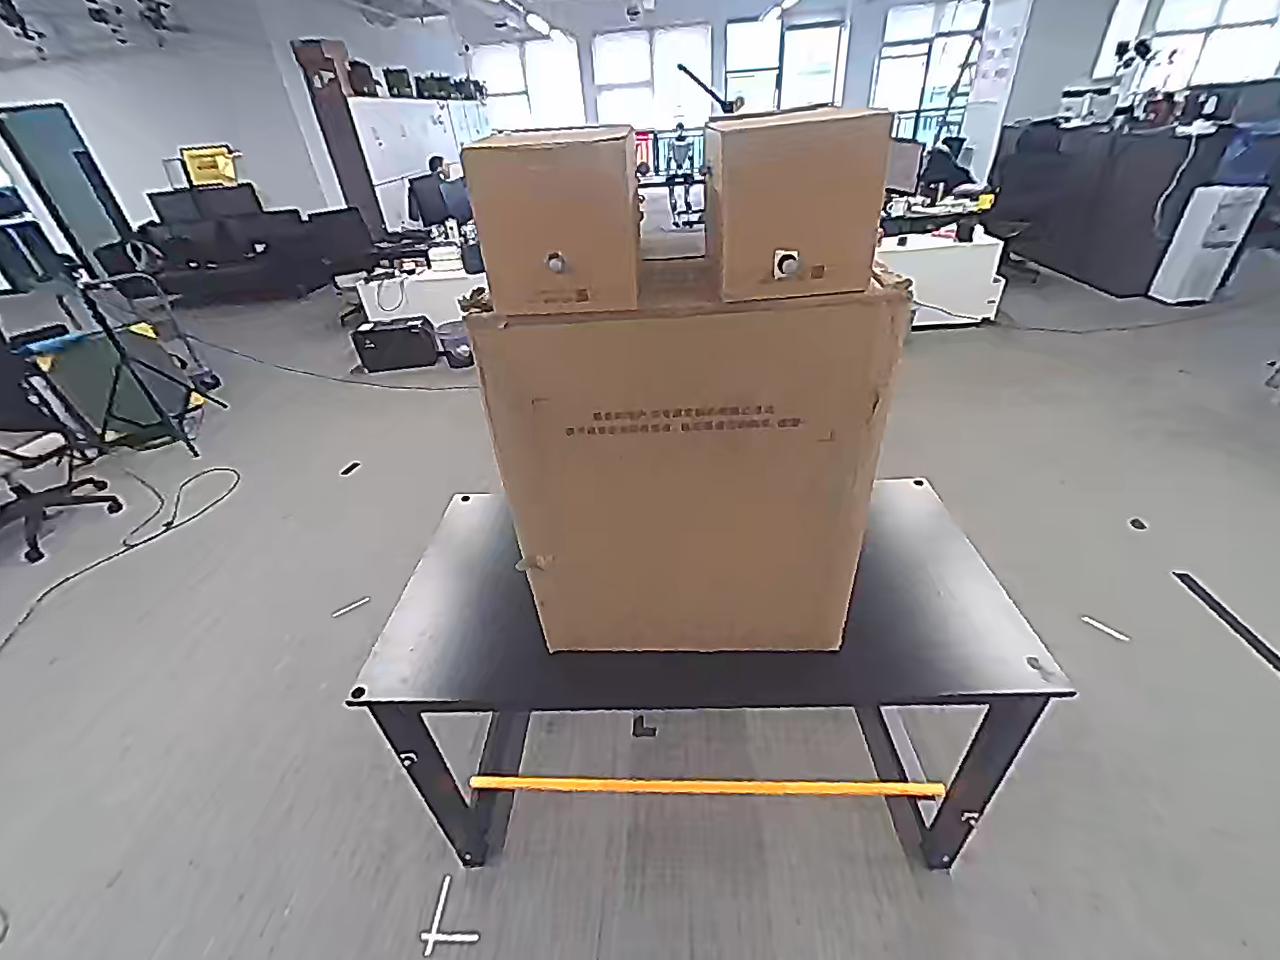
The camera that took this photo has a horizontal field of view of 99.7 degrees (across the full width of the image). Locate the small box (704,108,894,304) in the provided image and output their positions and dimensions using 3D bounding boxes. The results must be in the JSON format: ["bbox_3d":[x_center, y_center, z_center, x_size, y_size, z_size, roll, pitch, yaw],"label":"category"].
[{"bbox_3d":[0.164,-0.315,0.621,0.168,0.176,0.179,-6,36,3],"label":"small box"}]

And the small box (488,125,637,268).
[{"bbox_3d":[-0.101,-0.417,0.798,0.179,0.176,0.168,0,34,4],"label":"small box"}]
